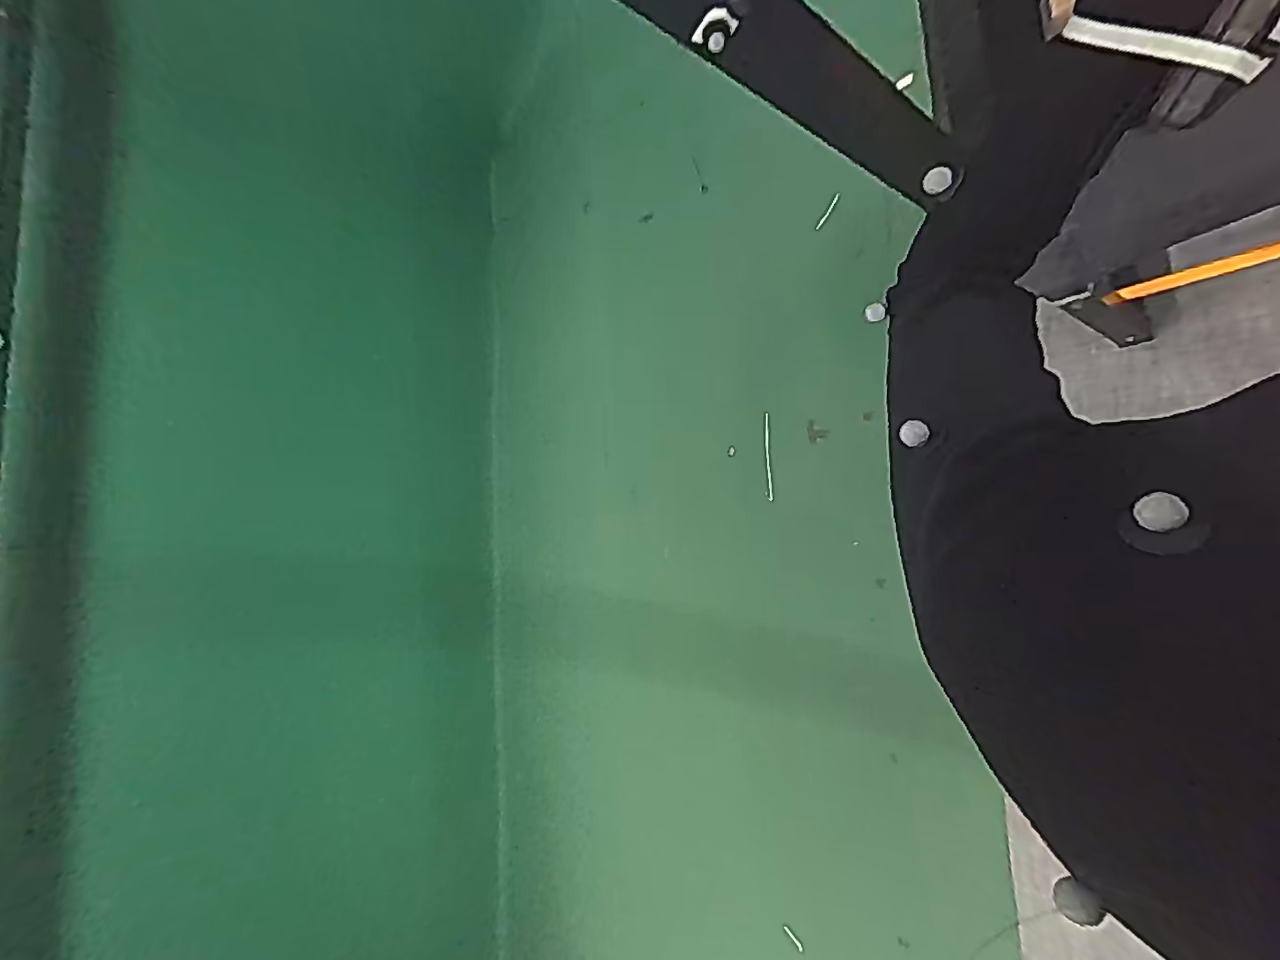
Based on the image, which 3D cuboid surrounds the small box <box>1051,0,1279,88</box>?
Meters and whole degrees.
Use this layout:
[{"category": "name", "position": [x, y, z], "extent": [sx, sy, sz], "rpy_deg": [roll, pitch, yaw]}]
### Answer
[{"category": "small box", "position": [0.523, -0.550, 0.535], "extent": [0.168, 0.176, 0.179], "rpy_deg": [-11, 79, 52]}]
